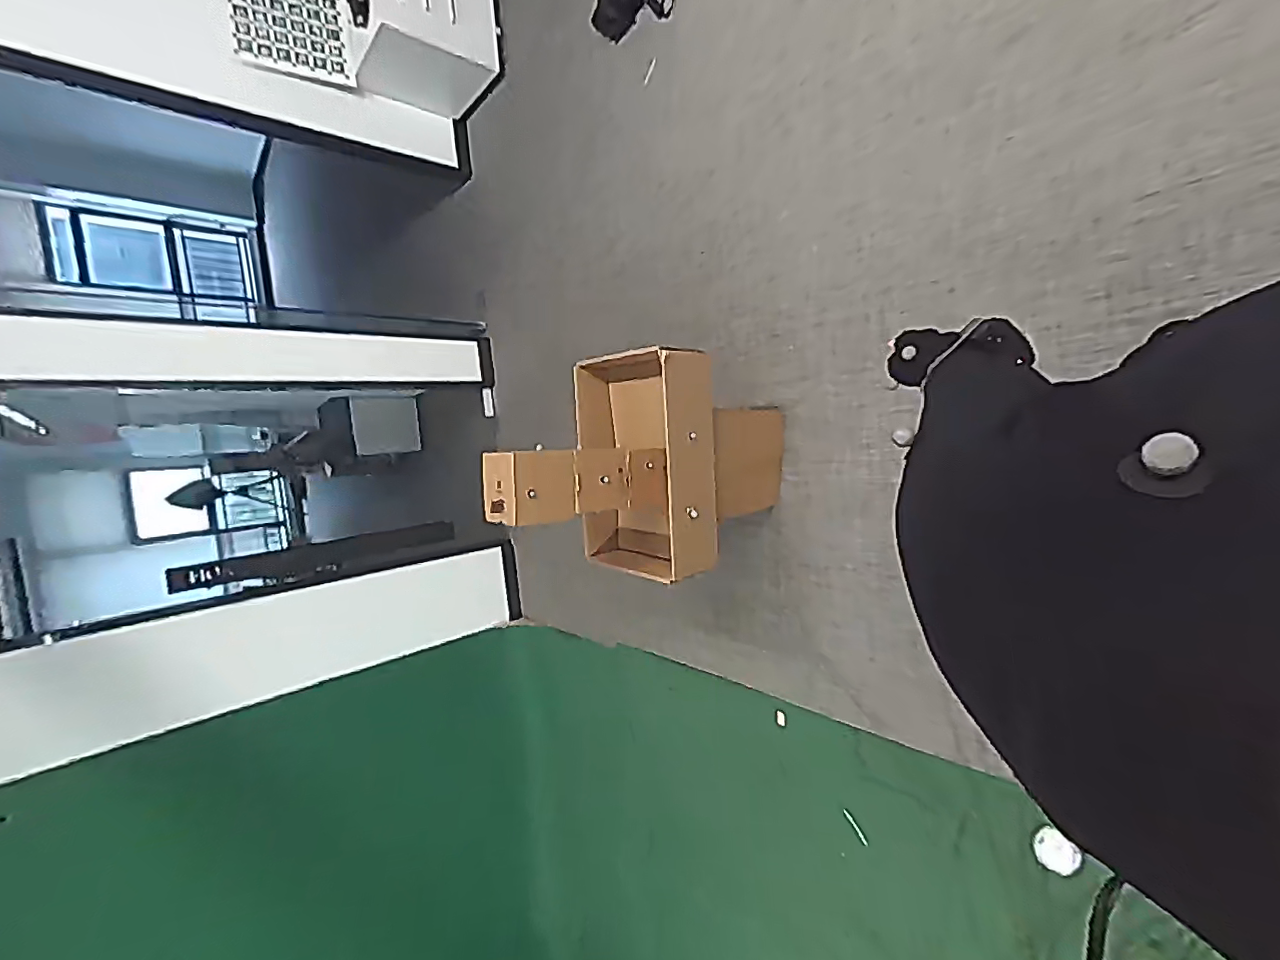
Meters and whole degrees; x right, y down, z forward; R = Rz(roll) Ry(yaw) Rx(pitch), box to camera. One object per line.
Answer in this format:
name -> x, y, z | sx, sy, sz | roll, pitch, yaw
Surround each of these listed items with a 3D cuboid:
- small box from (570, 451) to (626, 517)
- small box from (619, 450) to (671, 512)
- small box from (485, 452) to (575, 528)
small box -> -0.150, 0.006, 1.477 | 0.179, 0.176, 0.168 | -1, 93, 49
small box -> -0.021, -0.002, 1.578 | 0.179, 0.176, 0.168 | 3, 96, 51
small box -> -0.277, 0.020, 1.372 | 0.168, 0.176, 0.179 | 3, 95, 49
